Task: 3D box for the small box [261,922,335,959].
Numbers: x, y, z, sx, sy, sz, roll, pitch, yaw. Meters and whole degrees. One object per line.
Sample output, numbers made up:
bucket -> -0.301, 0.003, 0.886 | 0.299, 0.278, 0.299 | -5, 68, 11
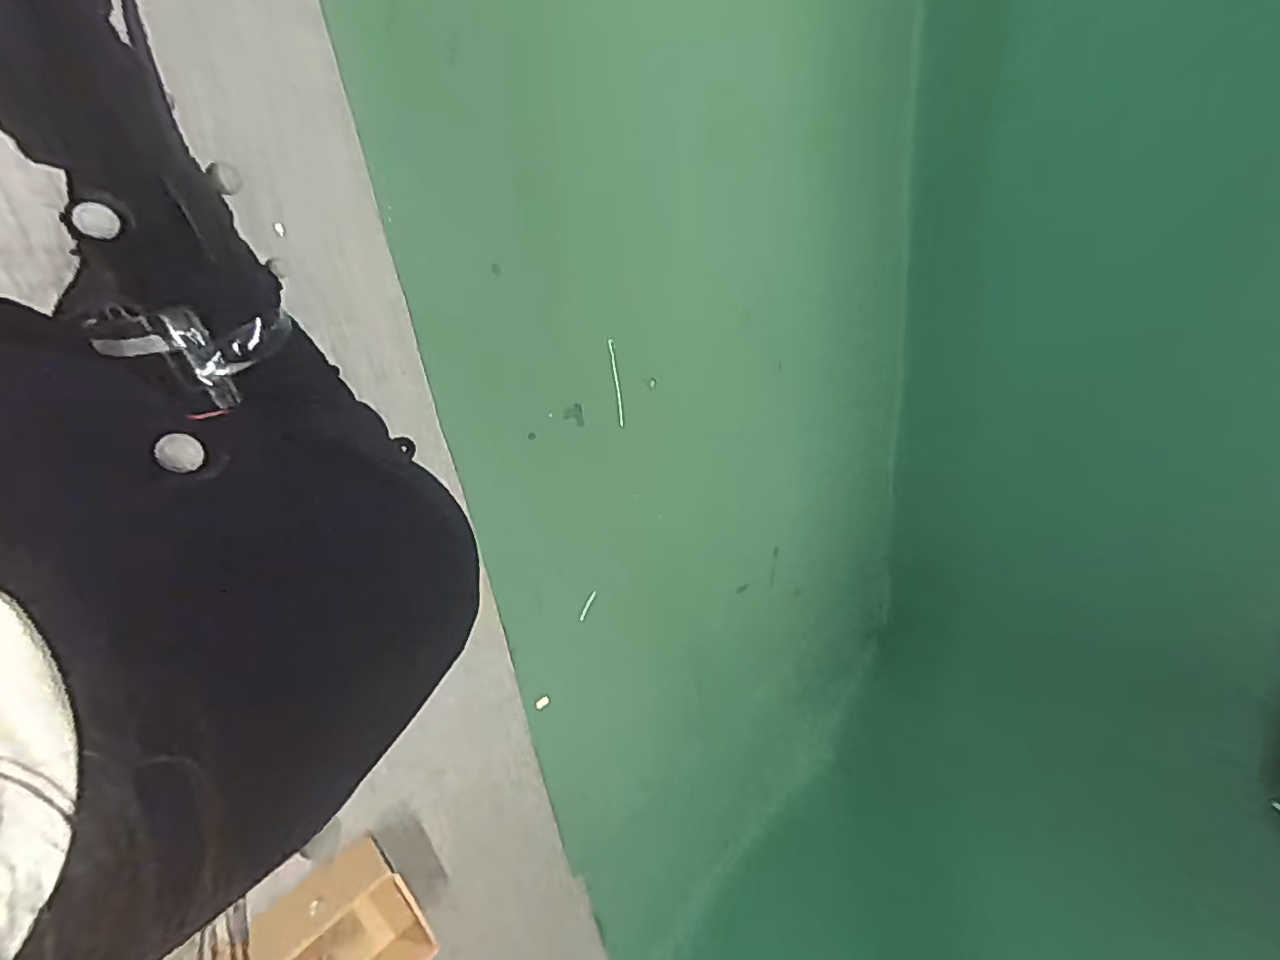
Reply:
small box -> -0.878, 1.297, 1.372 | 0.179, 0.176, 0.168 | -31, 121, -36
